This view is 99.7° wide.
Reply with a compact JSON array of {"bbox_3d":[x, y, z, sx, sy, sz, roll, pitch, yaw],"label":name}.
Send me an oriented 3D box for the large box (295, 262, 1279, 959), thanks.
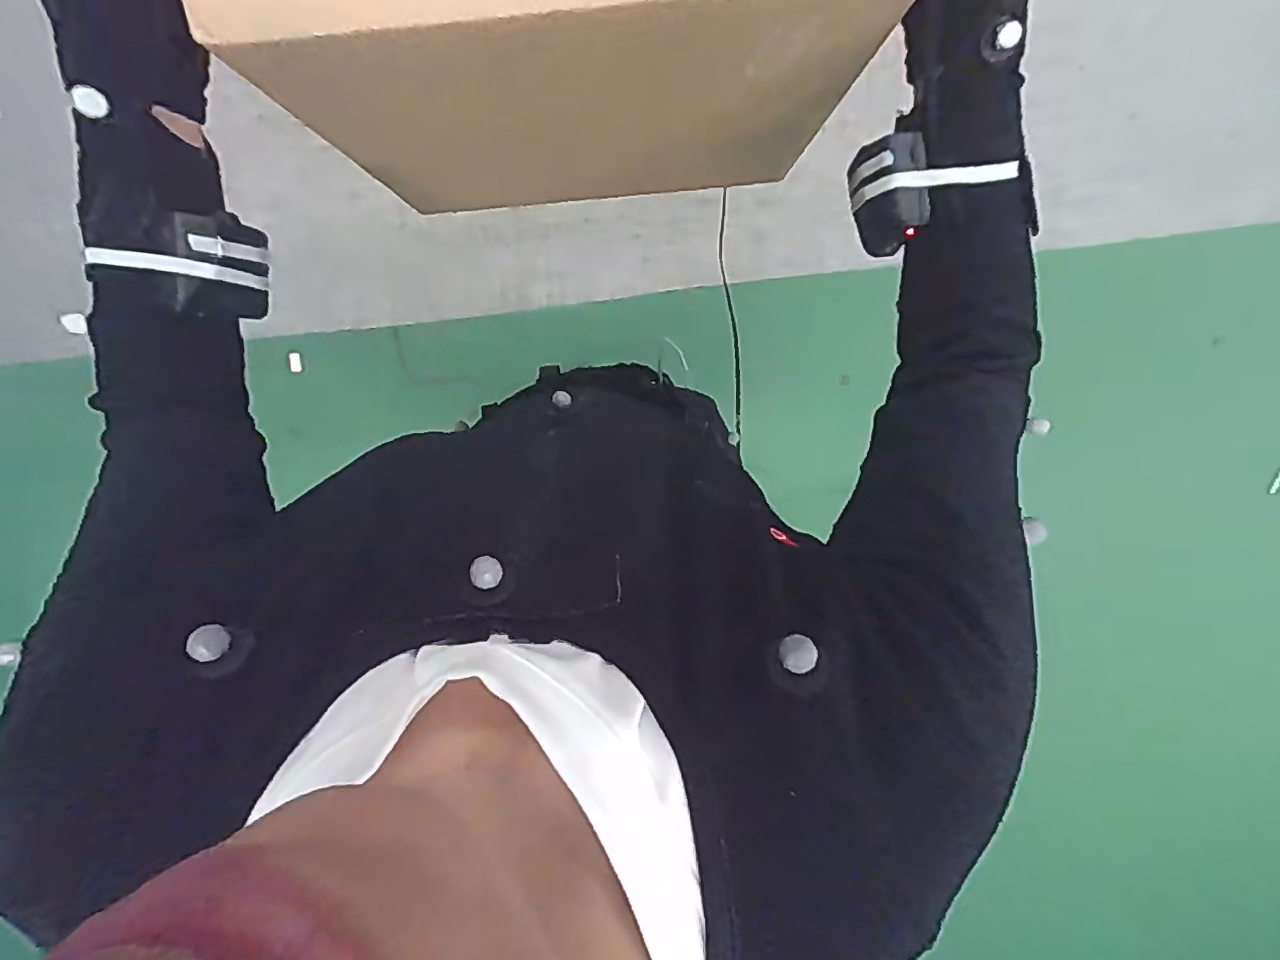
[{"bbox_3d":[0.119,0.132,0.324,0.320,0.320,0.408,14,69,29],"label":"large box"}]
